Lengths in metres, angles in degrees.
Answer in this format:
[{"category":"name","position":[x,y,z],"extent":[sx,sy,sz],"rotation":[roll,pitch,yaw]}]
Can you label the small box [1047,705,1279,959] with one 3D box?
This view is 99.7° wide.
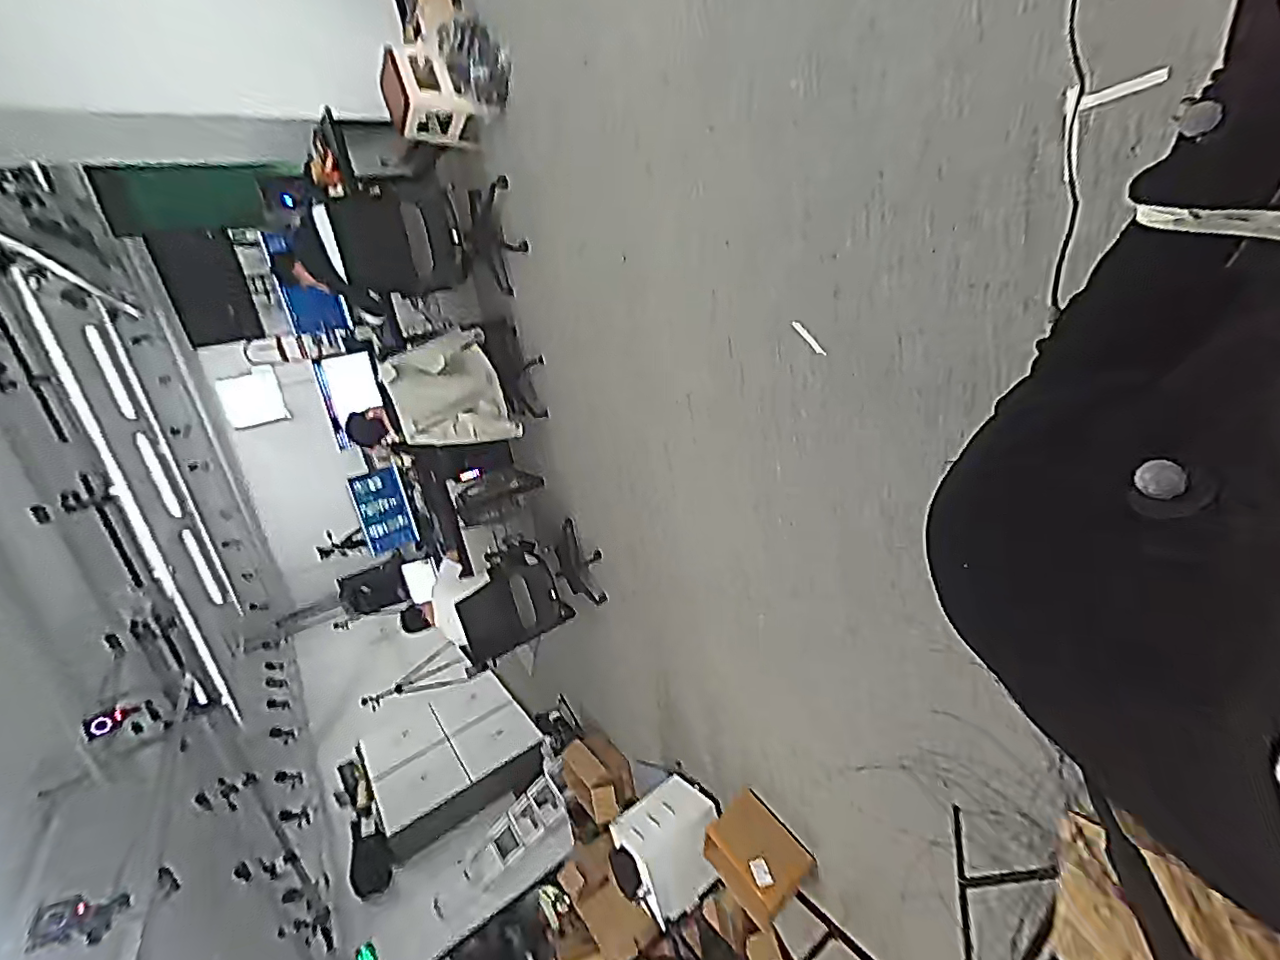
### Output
[{"category":"small box","position":[0.455,0.317,0.426],"extent":[0.168,0.176,0.179],"rotation":[14,118,54]}]
